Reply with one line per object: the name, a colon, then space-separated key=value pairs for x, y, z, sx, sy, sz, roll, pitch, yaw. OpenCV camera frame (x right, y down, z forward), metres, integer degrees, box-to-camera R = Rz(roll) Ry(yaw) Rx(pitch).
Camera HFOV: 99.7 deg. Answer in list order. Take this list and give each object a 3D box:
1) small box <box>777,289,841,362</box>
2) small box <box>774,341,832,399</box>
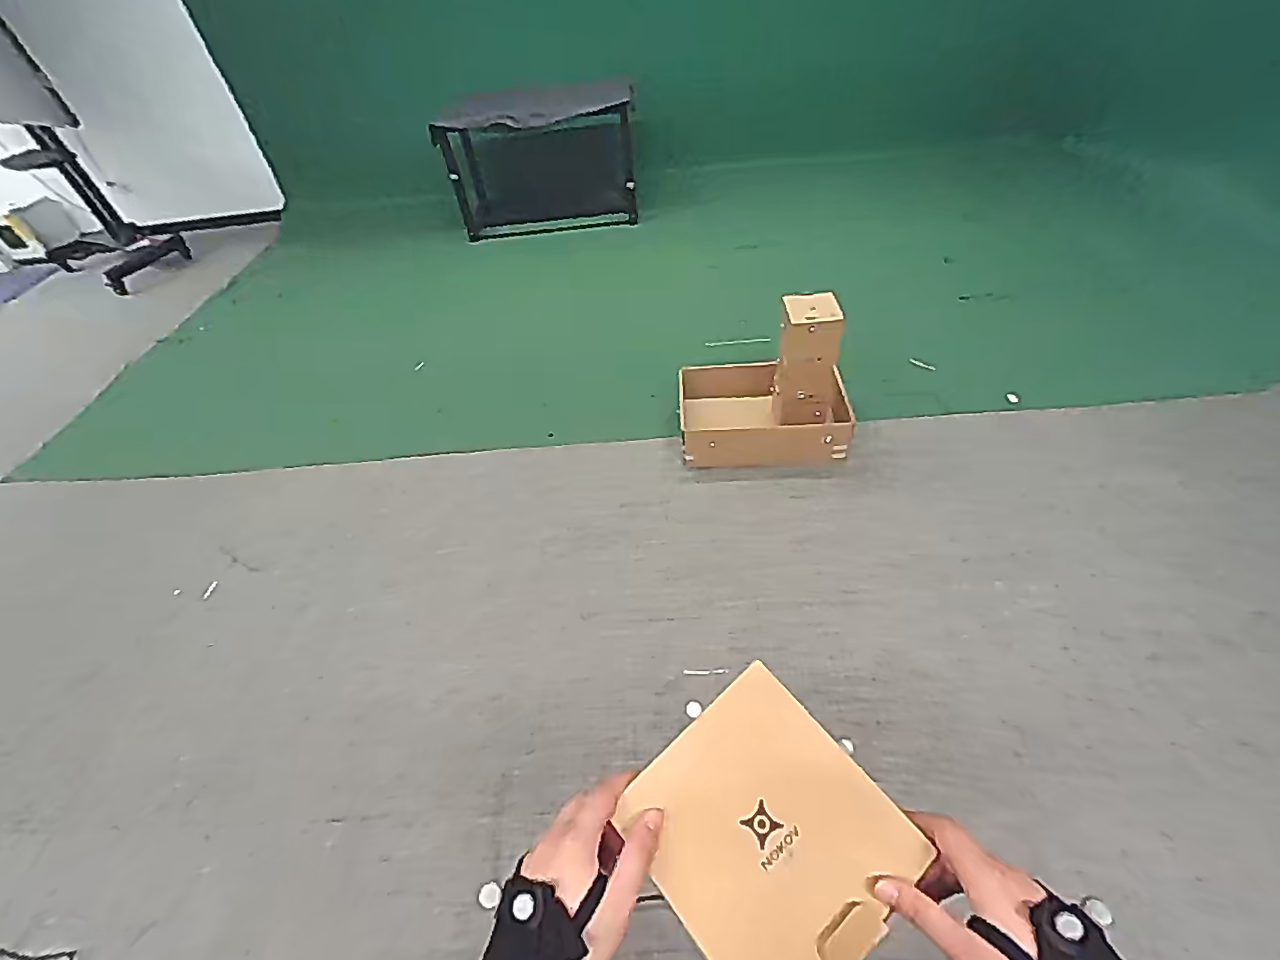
small box: x=0.564 y=-0.522 z=1.829 sx=0.168 sy=0.176 sz=0.179 roll=-5 pitch=46 yaw=5
small box: x=0.581 y=-0.412 z=1.950 sx=0.168 sy=0.176 sz=0.179 roll=-2 pitch=49 yaw=7
